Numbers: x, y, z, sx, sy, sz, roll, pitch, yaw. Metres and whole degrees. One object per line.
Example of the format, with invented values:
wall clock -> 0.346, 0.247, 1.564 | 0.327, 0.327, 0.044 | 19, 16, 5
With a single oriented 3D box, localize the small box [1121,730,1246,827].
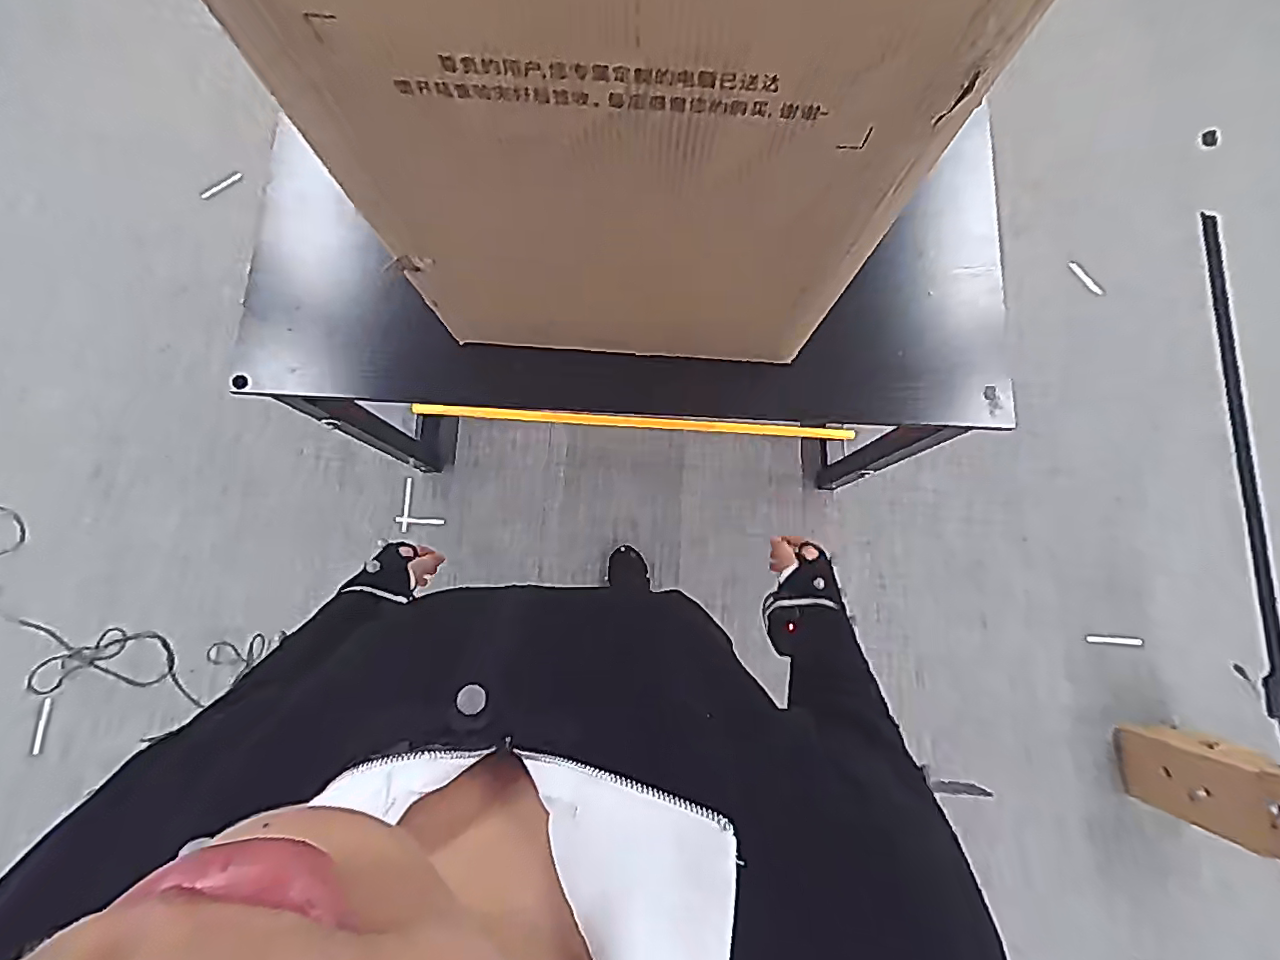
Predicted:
small box -> 1.358, 0.735, 1.350 | 0.168, 0.176, 0.179 | 0, 81, -1

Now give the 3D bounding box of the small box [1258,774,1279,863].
small box -> 1.355, 0.682, 1.027 | 0.179, 0.176, 0.168 | 8, 79, 2

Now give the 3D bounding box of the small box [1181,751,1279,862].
small box -> 1.360, 0.711, 1.187 | 0.179, 0.176, 0.168 | 3, 80, 0
